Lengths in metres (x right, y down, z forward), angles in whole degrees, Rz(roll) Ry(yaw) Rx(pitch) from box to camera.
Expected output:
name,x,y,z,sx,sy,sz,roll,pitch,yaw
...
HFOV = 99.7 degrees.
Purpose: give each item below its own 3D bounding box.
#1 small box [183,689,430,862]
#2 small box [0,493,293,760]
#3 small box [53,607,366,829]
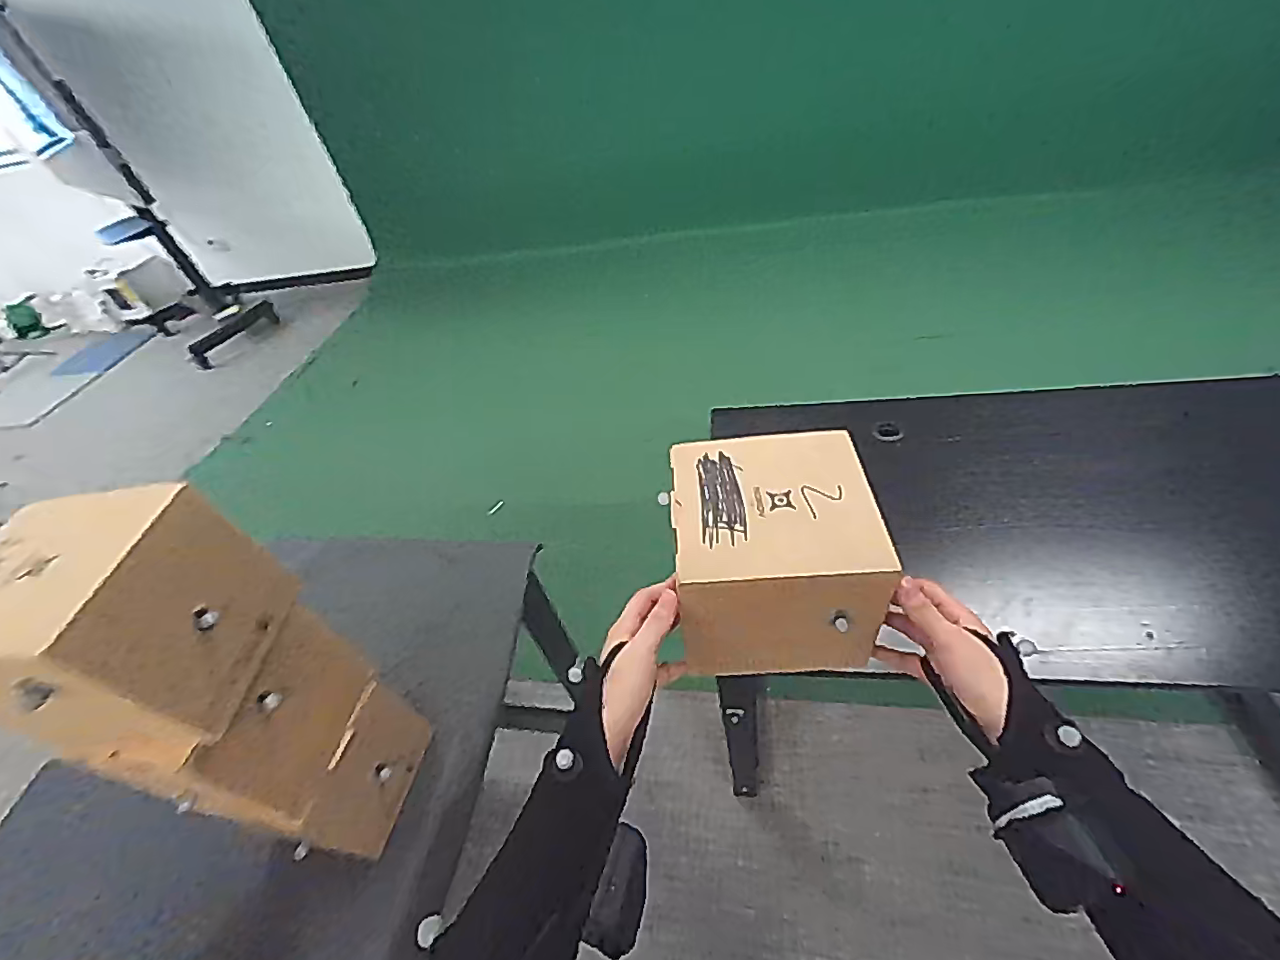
name,x,y,z,sx,sy,sz,roll,pitch,yaw
small box,-0.408,0.375,0.701,0.179,0.176,0.168,0,47,15
small box,-0.463,0.135,0.483,0.179,0.176,0.168,-8,45,9
small box,-0.440,0.255,0.594,0.168,0.176,0.179,-2,47,15
